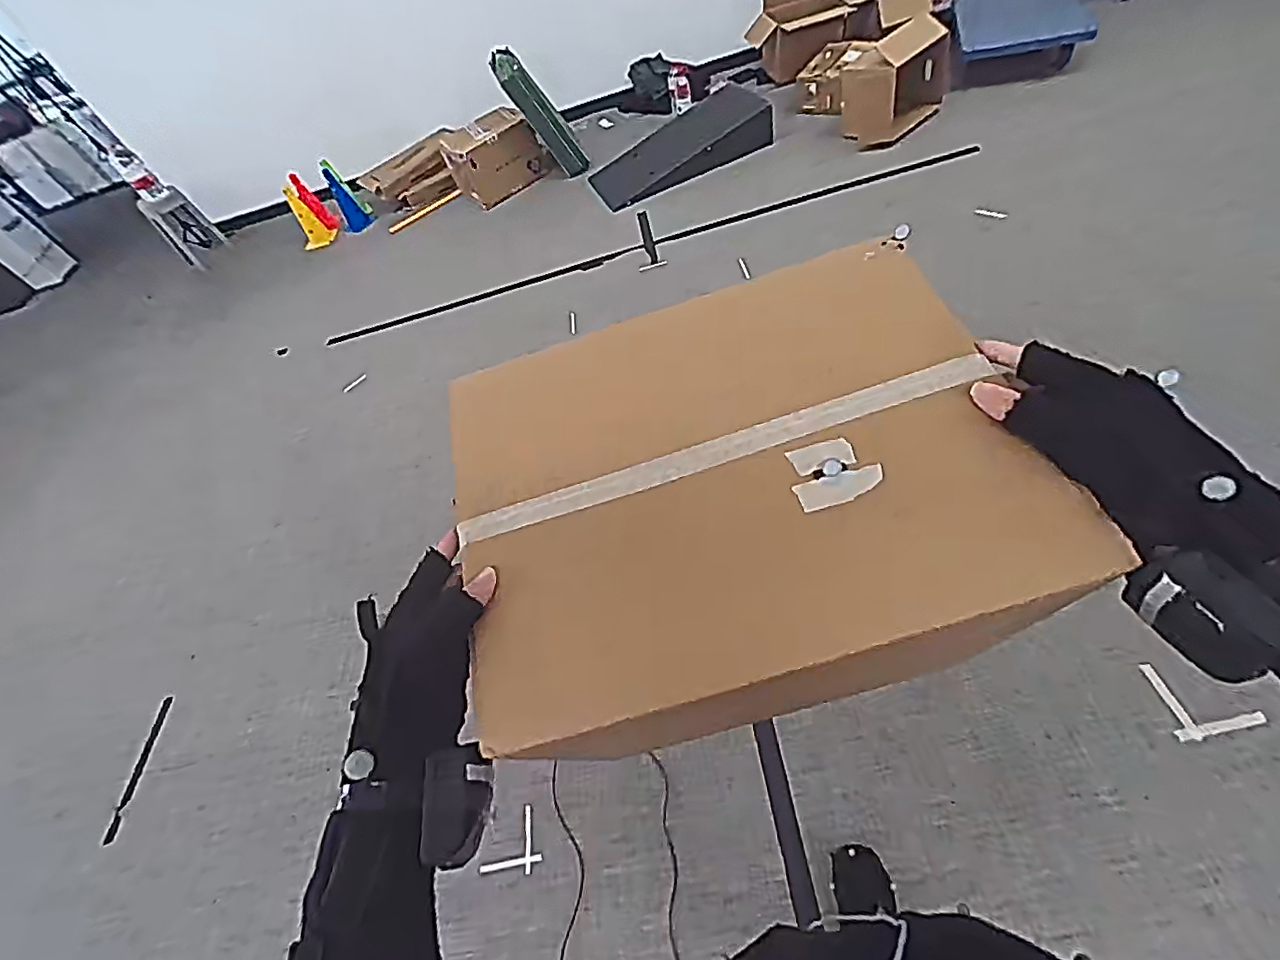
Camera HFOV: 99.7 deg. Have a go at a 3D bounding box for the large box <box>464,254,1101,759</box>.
[{"bbox_3d":[0.089,0.055,0.542,0.408,0.320,0.320,-18,61,2],"label":"large box"}]
